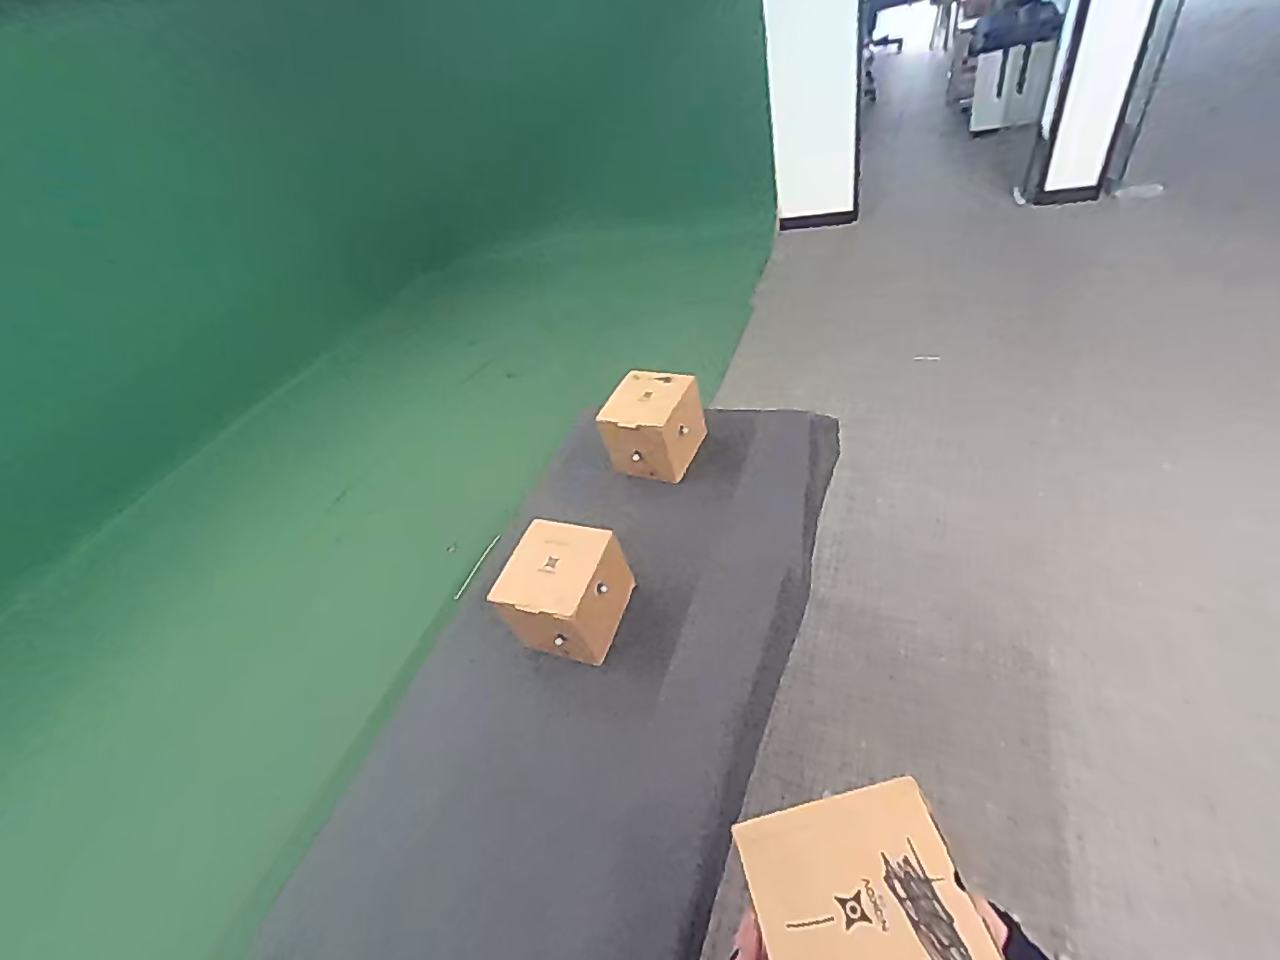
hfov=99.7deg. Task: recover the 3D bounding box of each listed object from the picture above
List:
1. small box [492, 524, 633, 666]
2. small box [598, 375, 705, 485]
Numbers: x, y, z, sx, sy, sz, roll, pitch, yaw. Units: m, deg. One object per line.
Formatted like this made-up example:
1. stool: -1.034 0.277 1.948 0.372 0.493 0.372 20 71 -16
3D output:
1. small box: -0.126 0.206 0.968 0.168 0.176 0.179 6 48 24
2. small box: 0.035 -0.112 1.221 0.168 0.176 0.179 11 52 29
